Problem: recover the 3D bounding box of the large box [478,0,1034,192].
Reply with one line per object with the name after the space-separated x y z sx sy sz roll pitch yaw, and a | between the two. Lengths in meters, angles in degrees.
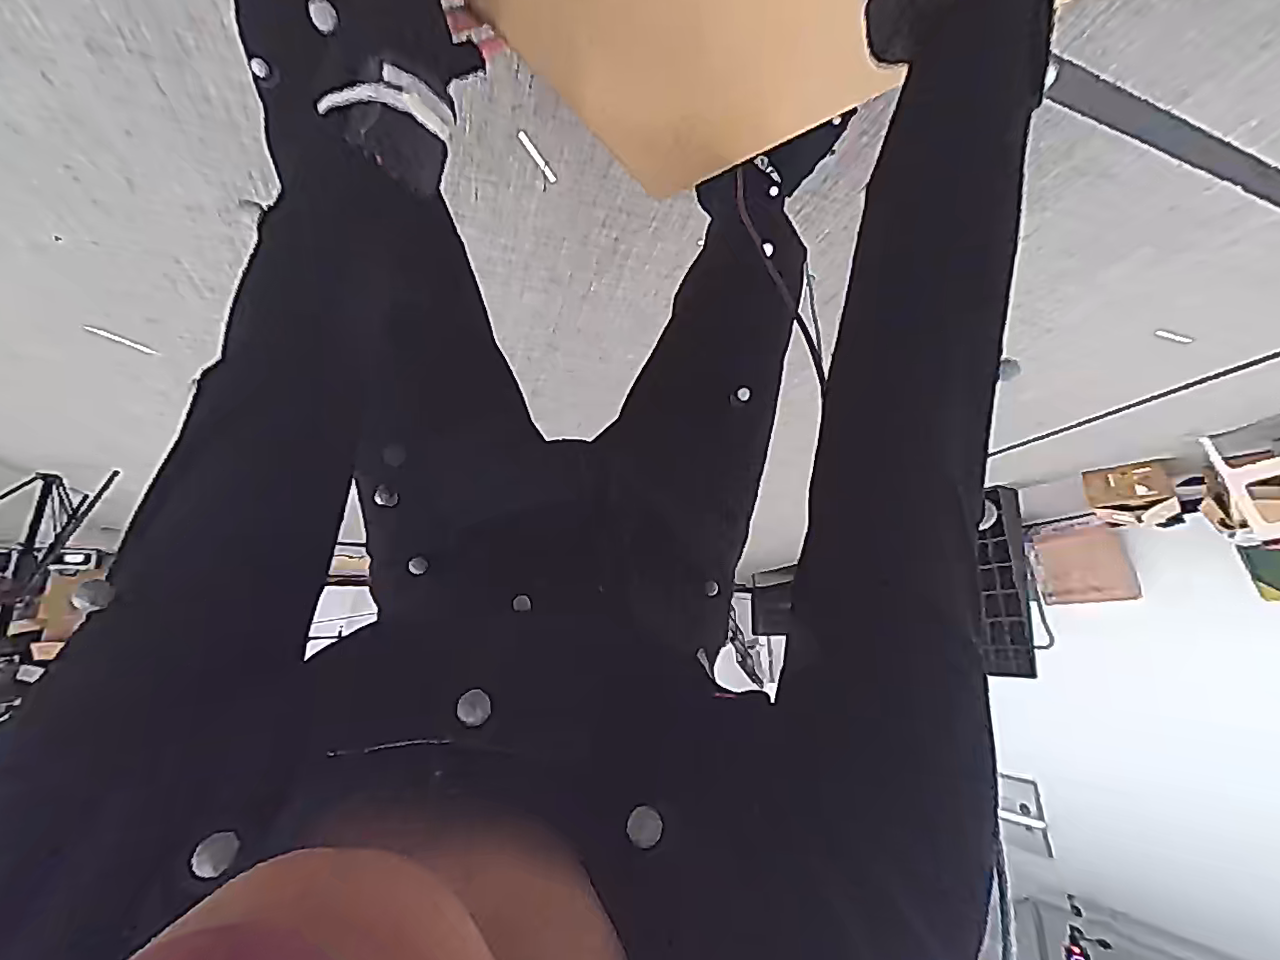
0.092 -0.529 0.437 0.408 0.320 0.320 -7 165 35 | large box
